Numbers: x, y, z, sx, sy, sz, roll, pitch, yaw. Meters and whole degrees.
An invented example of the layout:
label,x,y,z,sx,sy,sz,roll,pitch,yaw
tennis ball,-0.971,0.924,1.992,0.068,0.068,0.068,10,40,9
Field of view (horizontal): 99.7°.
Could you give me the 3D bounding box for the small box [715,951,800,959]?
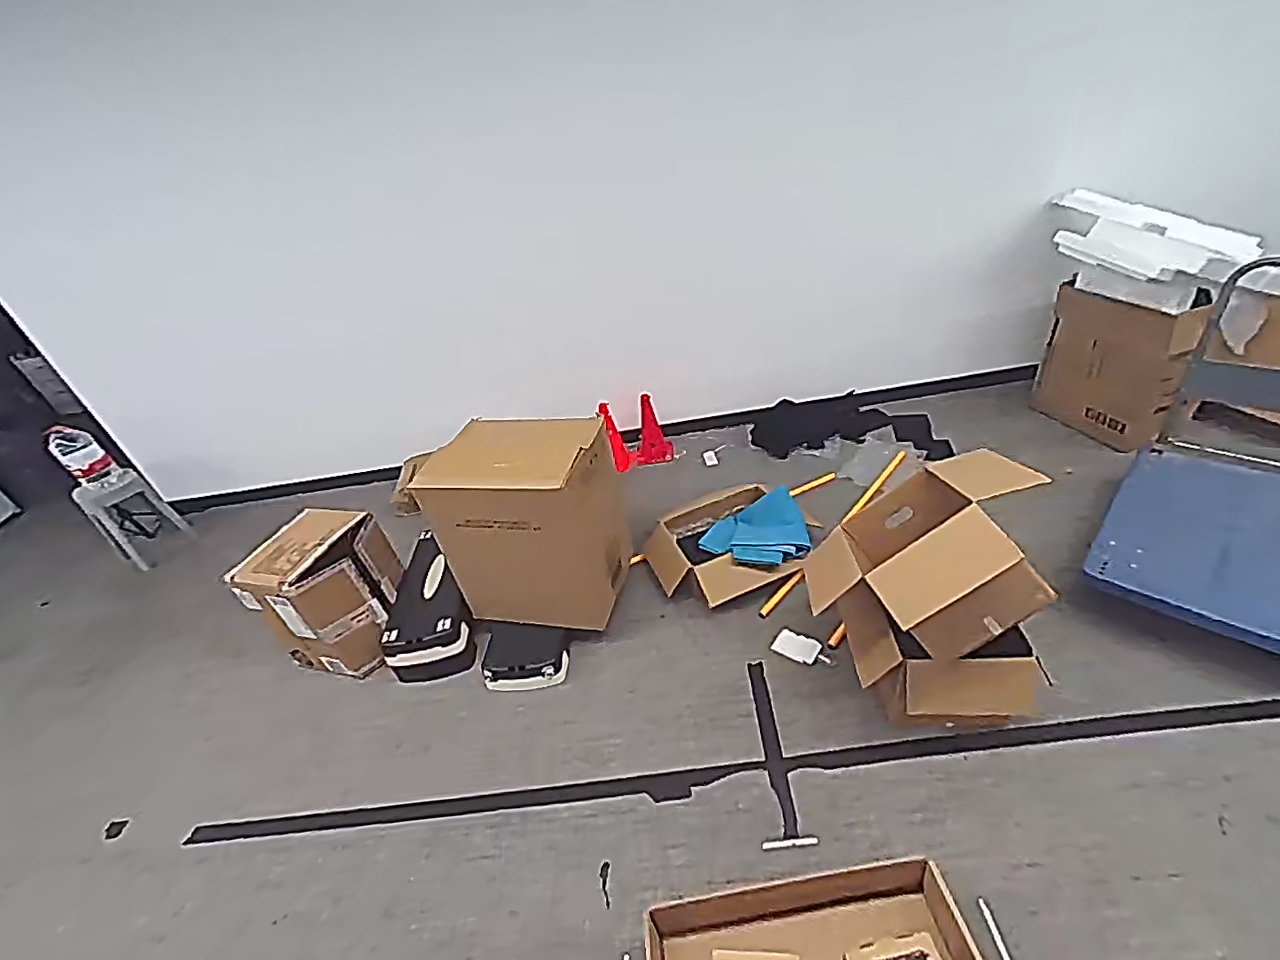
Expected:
label,x,y,z,sx,sy,sz,roll,pitch,yaw
small box,0.224,1.015,0.999,0.168,0.176,0.179,-4,34,9
